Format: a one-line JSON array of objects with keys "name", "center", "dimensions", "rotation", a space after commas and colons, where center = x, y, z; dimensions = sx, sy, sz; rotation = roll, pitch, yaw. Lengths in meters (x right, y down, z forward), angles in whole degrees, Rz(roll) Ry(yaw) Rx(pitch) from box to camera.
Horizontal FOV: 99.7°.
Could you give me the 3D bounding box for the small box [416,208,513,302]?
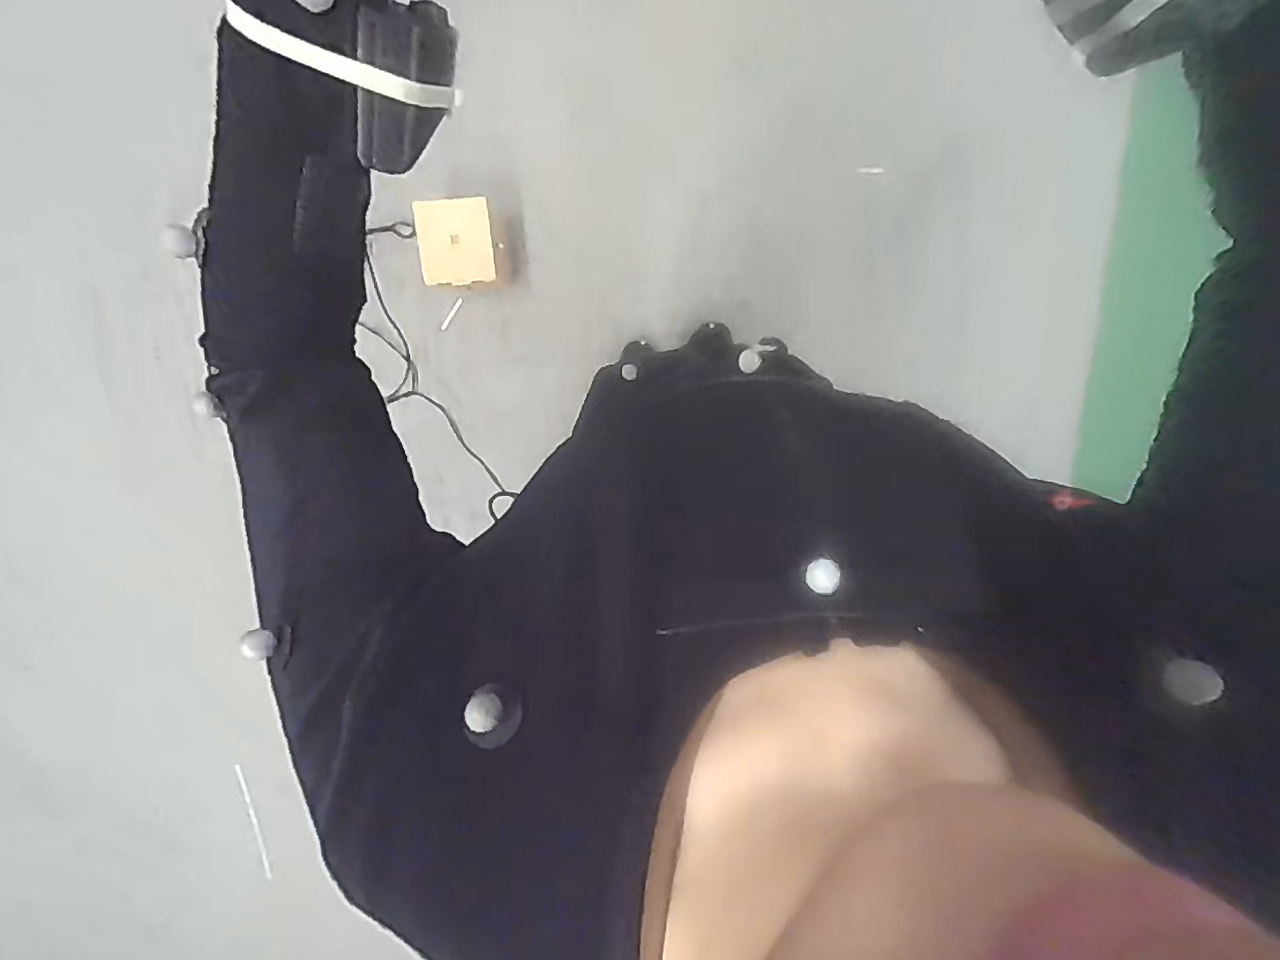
[{"name": "small box", "center": [-0.407, -0.524, 1.280], "dimensions": [0.168, 0.176, 0.179], "rotation": [-4, 104, 1]}]
